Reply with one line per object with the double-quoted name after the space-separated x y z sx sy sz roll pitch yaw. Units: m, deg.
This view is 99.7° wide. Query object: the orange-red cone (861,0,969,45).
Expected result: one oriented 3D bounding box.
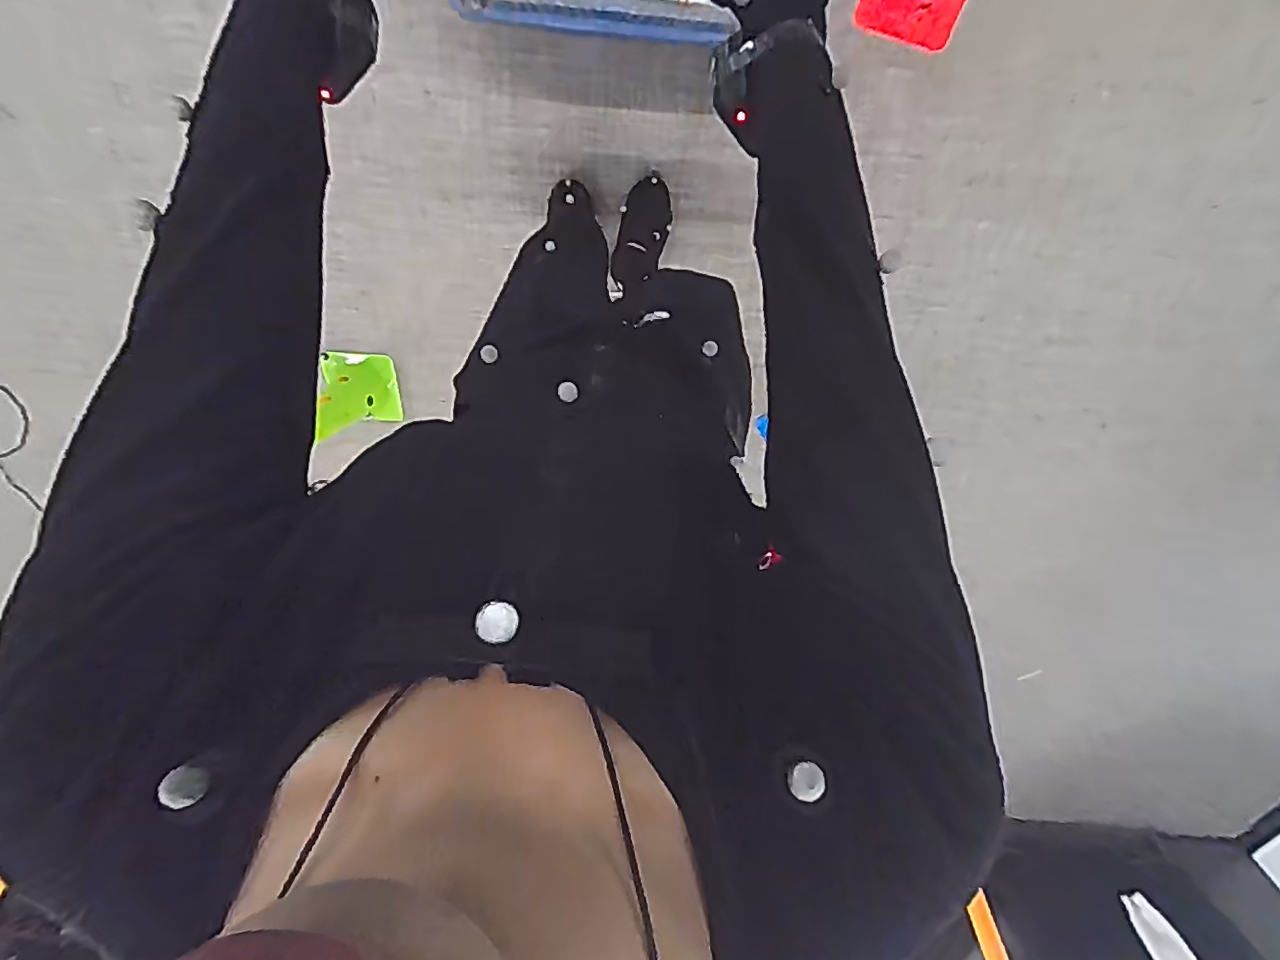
0.538 -0.876 0.877 0.198 0.360 0.199 14 122 -6 "orange-red cone"
